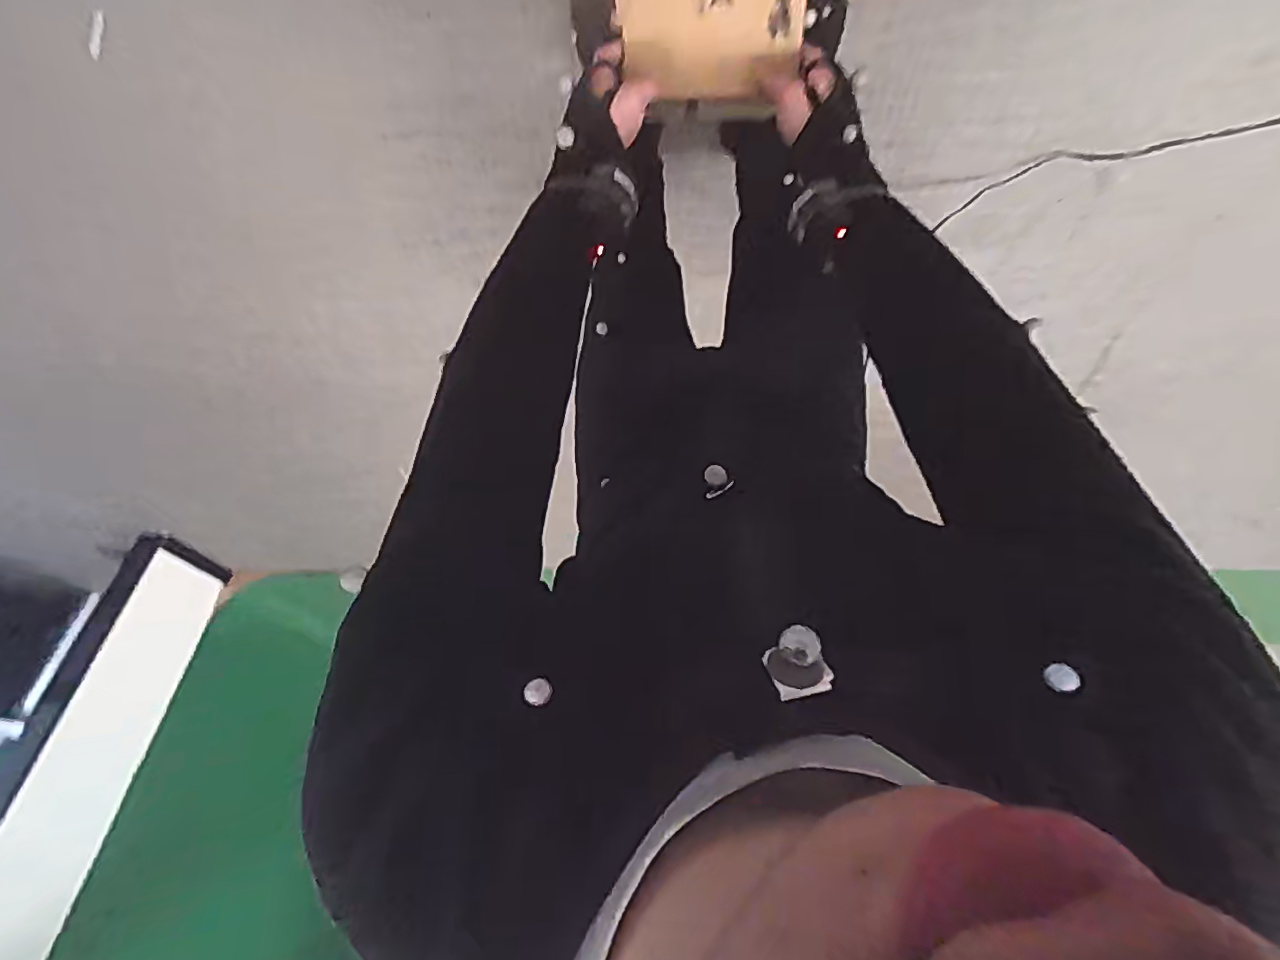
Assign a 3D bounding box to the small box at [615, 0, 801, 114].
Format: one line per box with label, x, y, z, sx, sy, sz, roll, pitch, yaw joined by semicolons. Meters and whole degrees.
small box;0.069;-0.498;0.571;0.179;0.176;0.168;1;116;3
